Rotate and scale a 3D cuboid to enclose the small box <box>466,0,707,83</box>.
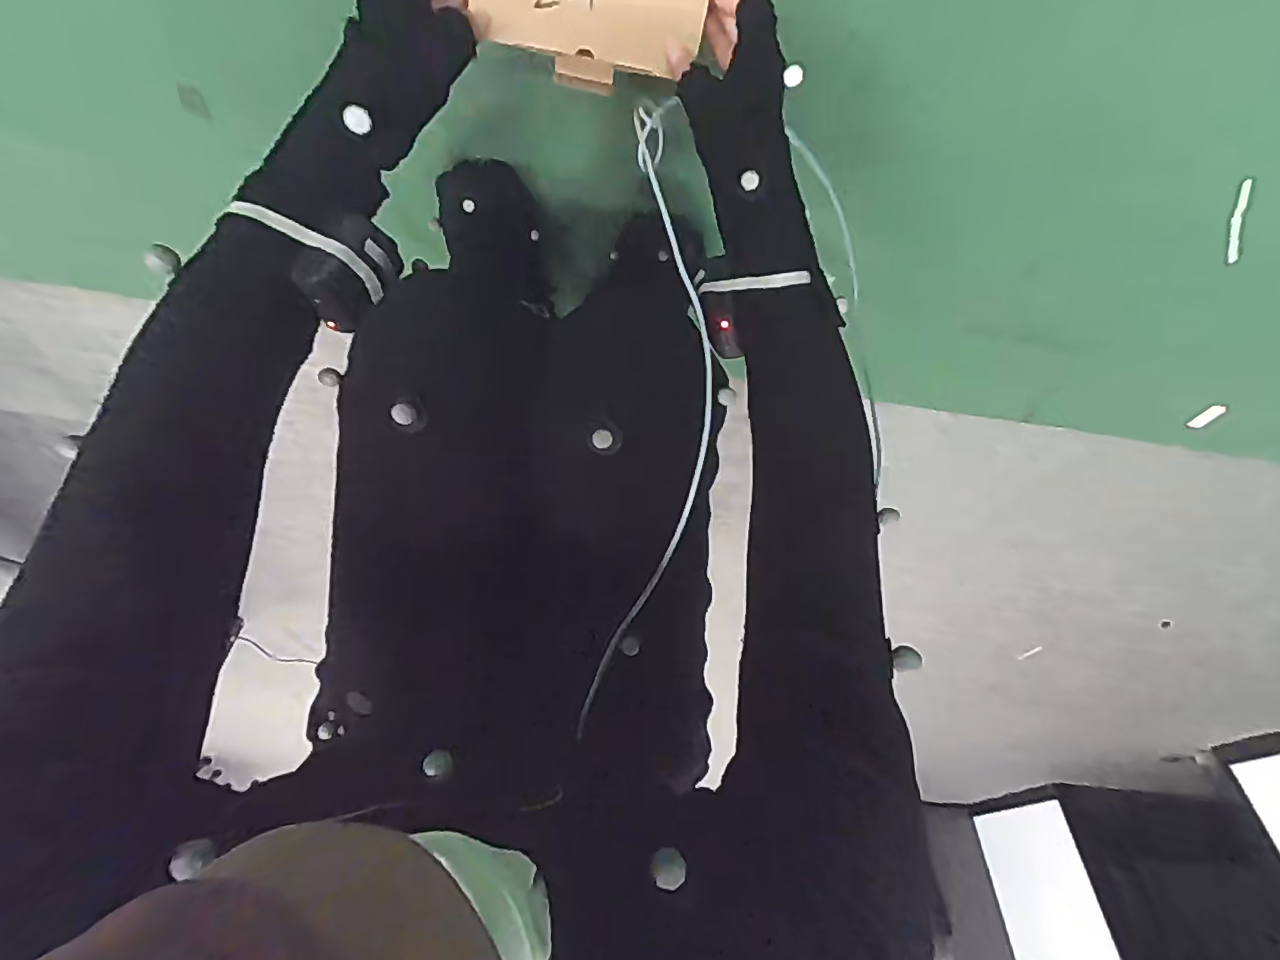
[{"bbox_3d":[-0.028,-0.424,0.382,0.168,0.176,0.179,6,141,-9],"label":"small box"}]
